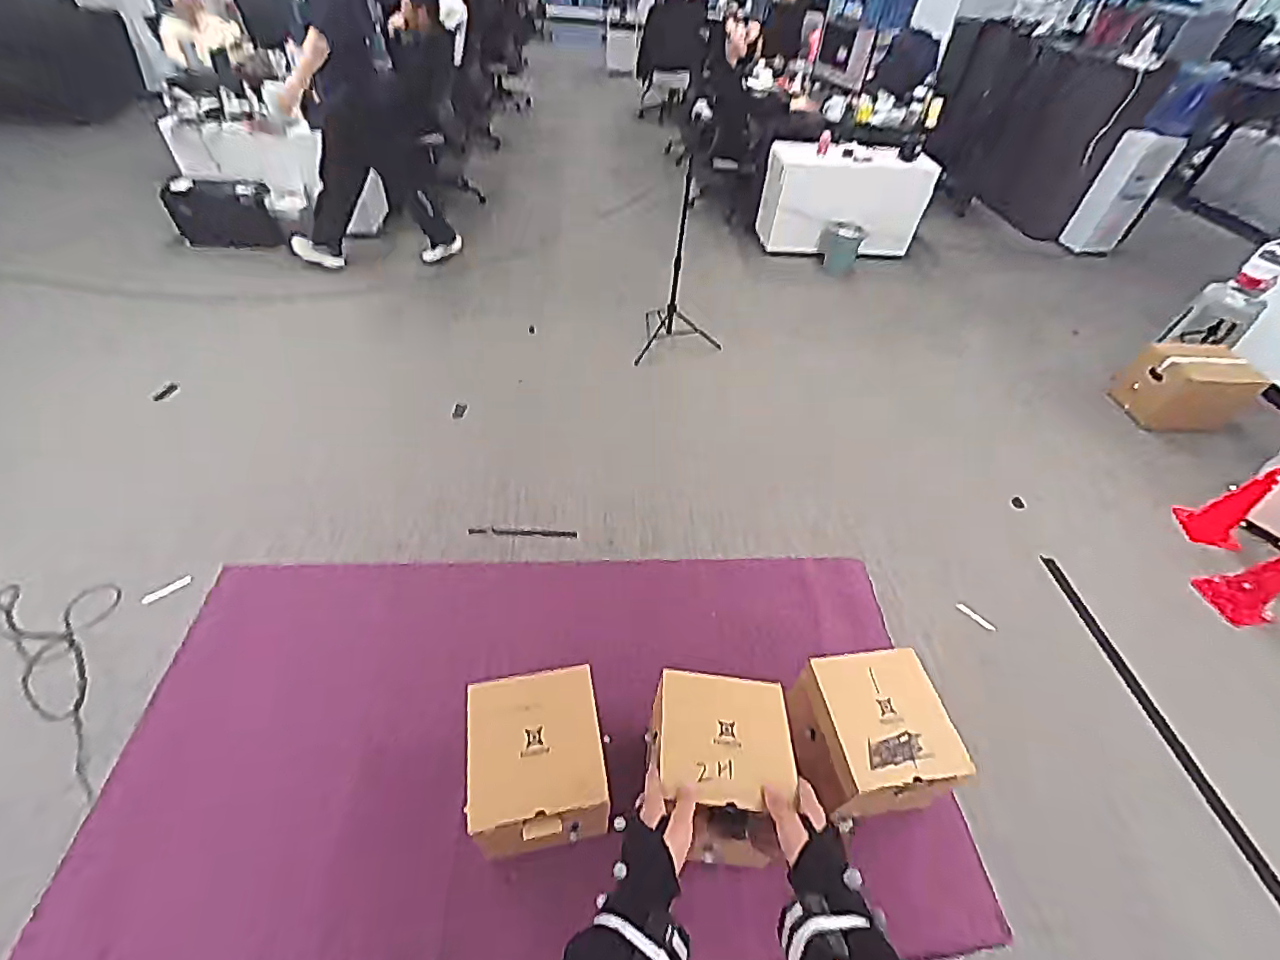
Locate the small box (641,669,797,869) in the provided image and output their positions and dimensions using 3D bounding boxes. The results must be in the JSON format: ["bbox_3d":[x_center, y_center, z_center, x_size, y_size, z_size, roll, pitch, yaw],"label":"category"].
[{"bbox_3d":[0.095,0.384,0.724,0.168,0.176,0.179,8,40,0],"label":"small box"}]

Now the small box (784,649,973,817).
[{"bbox_3d":[0.327,0.371,0.786,0.168,0.176,0.179,-3,46,-8],"label":"small box"}]

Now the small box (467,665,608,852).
[{"bbox_3d":[-0.136,0.382,0.735,0.168,0.176,0.179,-7,47,-11],"label":"small box"}]
